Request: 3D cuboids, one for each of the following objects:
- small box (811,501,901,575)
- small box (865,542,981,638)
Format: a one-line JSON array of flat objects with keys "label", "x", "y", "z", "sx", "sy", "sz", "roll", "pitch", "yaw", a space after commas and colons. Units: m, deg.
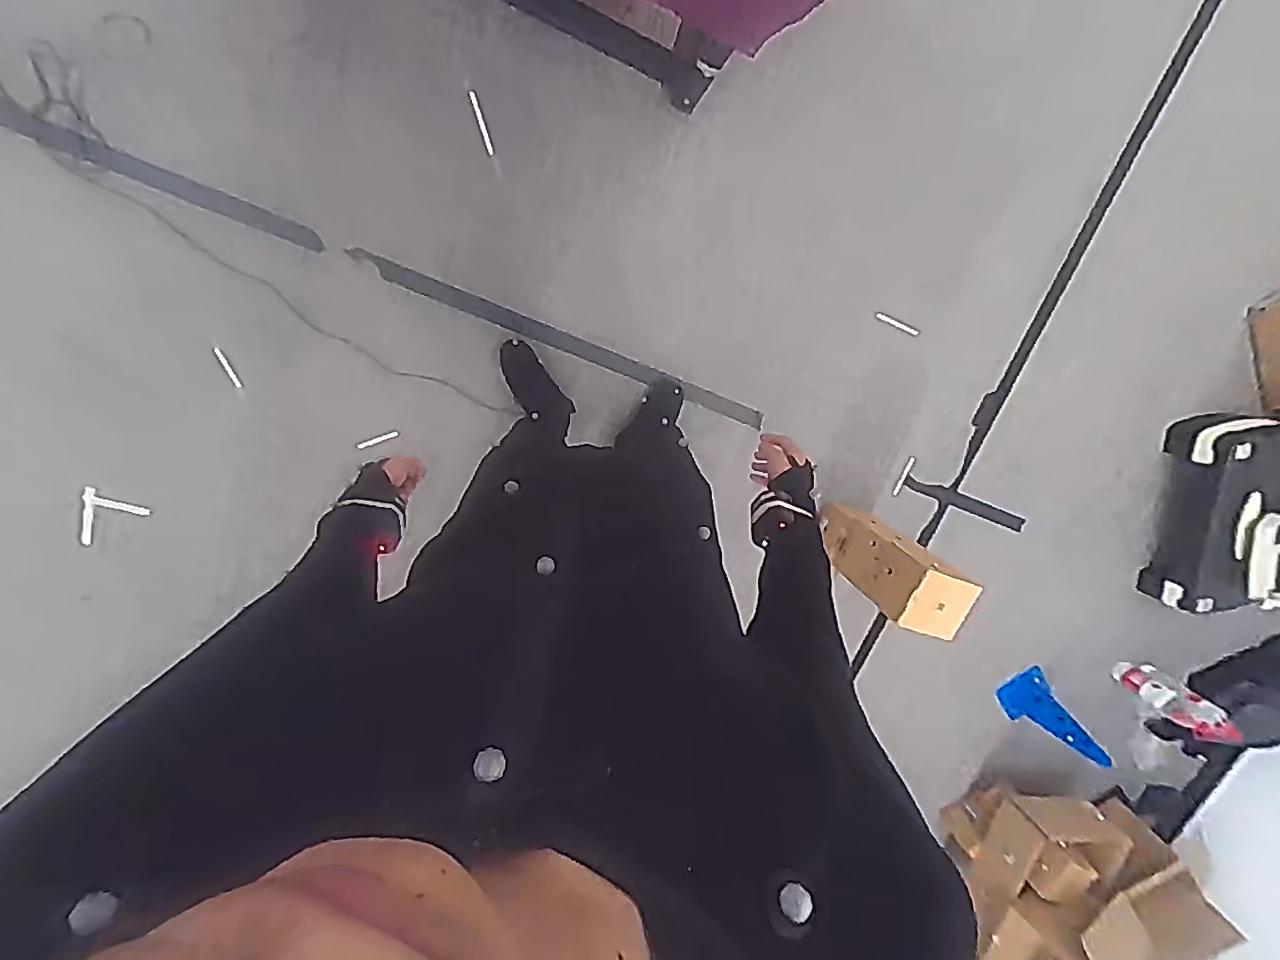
[{"label": "small box", "x": 0.687, "y": 0.184, "z": 1.739, "sx": 0.179, "sy": 0.176, "sz": 0.168, "roll": 15, "pitch": 105, "yaw": -12}, {"label": "small box", "x": 0.739, "y": 0.285, "z": 1.431, "sx": 0.179, "sy": 0.176, "sz": 0.168, "roll": 19, "pitch": 106, "yaw": -13}]
